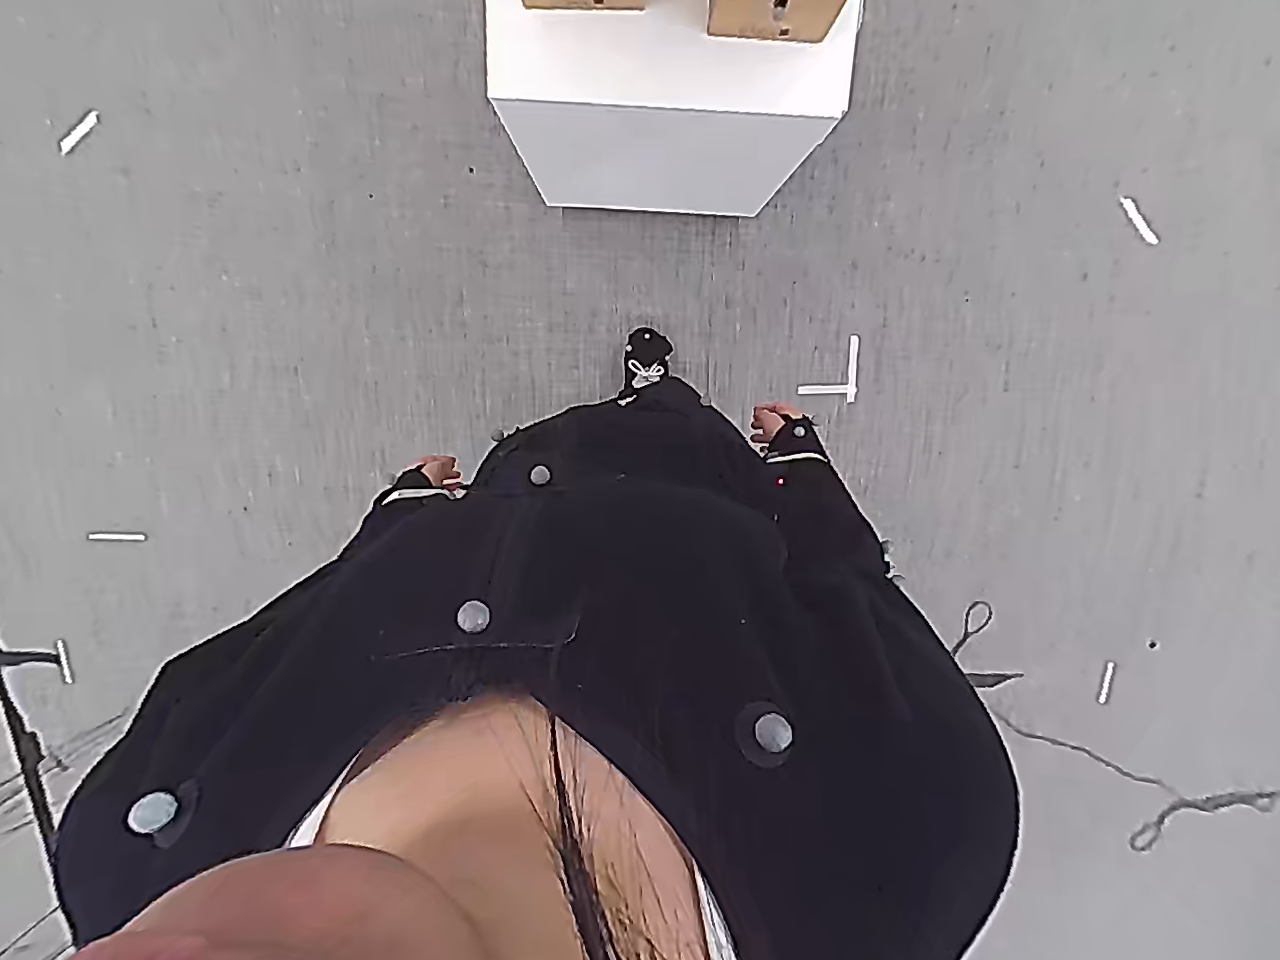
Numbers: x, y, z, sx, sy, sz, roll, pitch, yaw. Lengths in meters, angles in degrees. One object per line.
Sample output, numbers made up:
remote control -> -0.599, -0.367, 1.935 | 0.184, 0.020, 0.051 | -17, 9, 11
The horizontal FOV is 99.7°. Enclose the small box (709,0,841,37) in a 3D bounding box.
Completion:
small box -> 0.179, -0.680, 0.653 | 0.168, 0.176, 0.179 | 3, 104, -2
